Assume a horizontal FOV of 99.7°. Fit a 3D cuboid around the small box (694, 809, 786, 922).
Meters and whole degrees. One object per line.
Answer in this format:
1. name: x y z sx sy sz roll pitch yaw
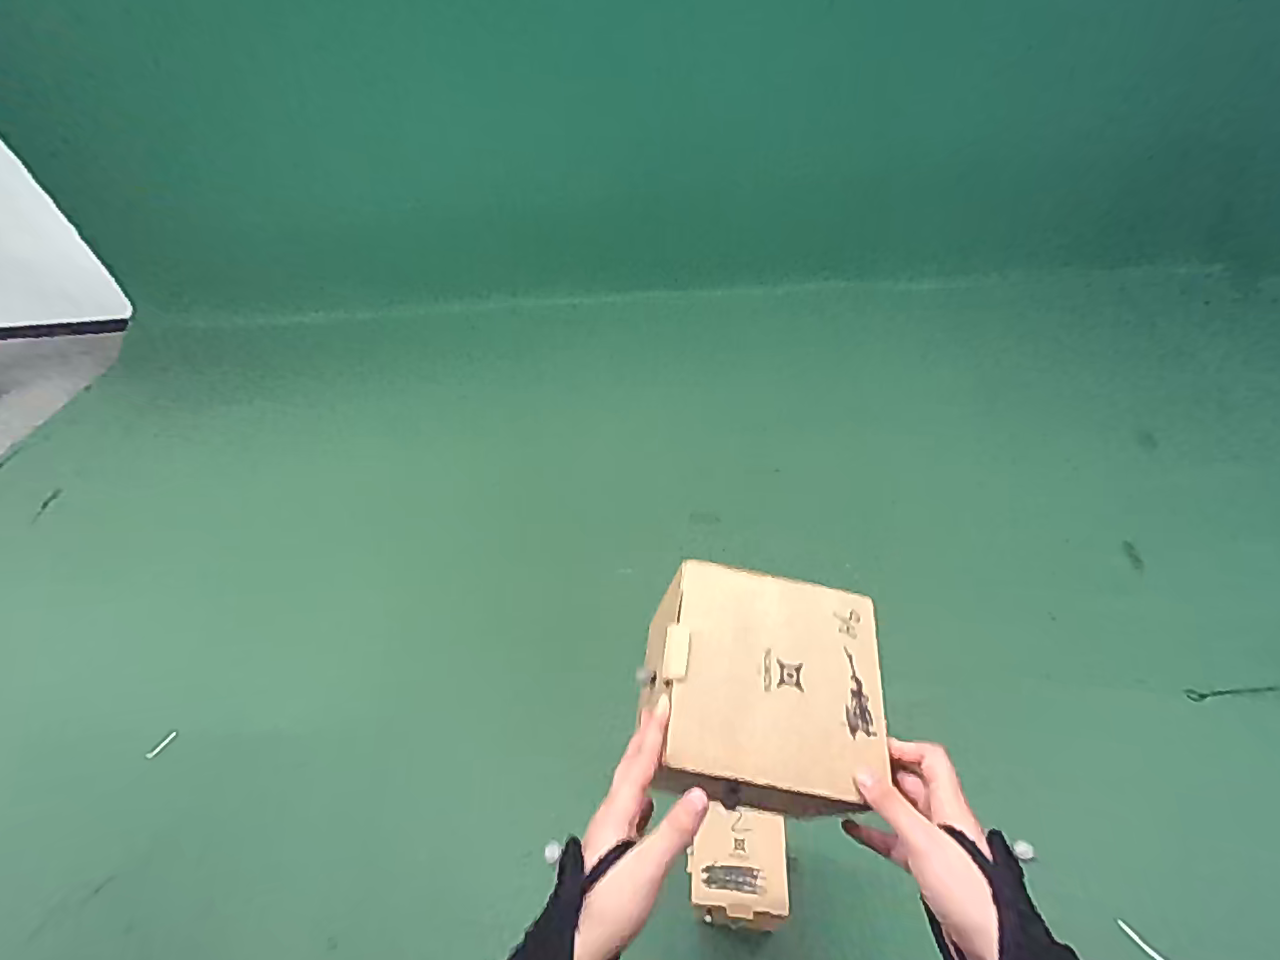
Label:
1. small box: 0.206 0.816 1.142 0.179 0.176 0.168 1 47 9
